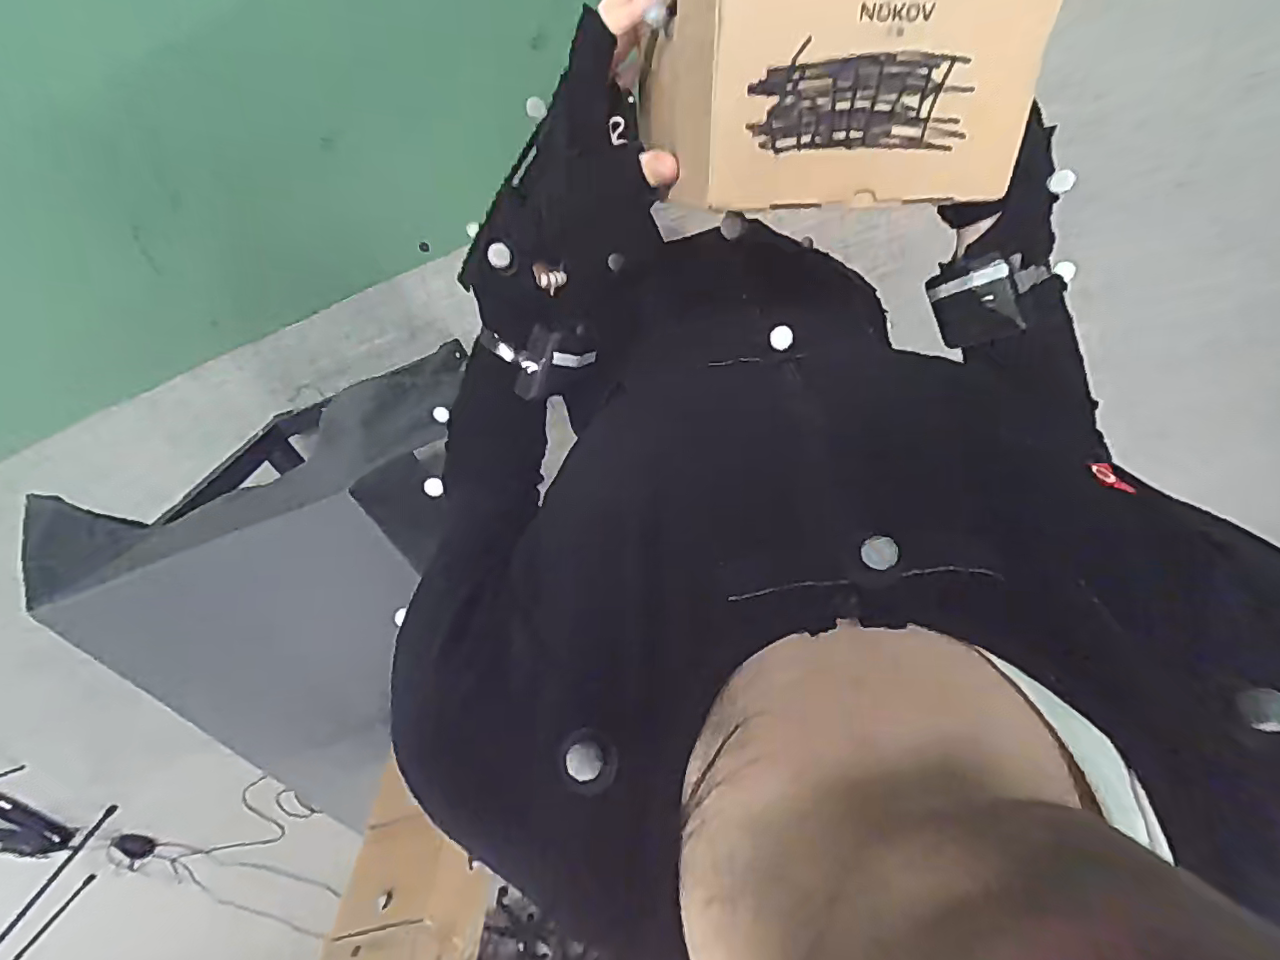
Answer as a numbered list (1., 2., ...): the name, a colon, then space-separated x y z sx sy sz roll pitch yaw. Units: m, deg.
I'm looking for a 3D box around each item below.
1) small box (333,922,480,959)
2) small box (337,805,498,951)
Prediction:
1. small box: -0.361 0.788 0.801 0.168 0.176 0.179 -18 122 9
2. small box: -0.371 0.702 0.941 0.179 0.176 0.168 -20 121 9
